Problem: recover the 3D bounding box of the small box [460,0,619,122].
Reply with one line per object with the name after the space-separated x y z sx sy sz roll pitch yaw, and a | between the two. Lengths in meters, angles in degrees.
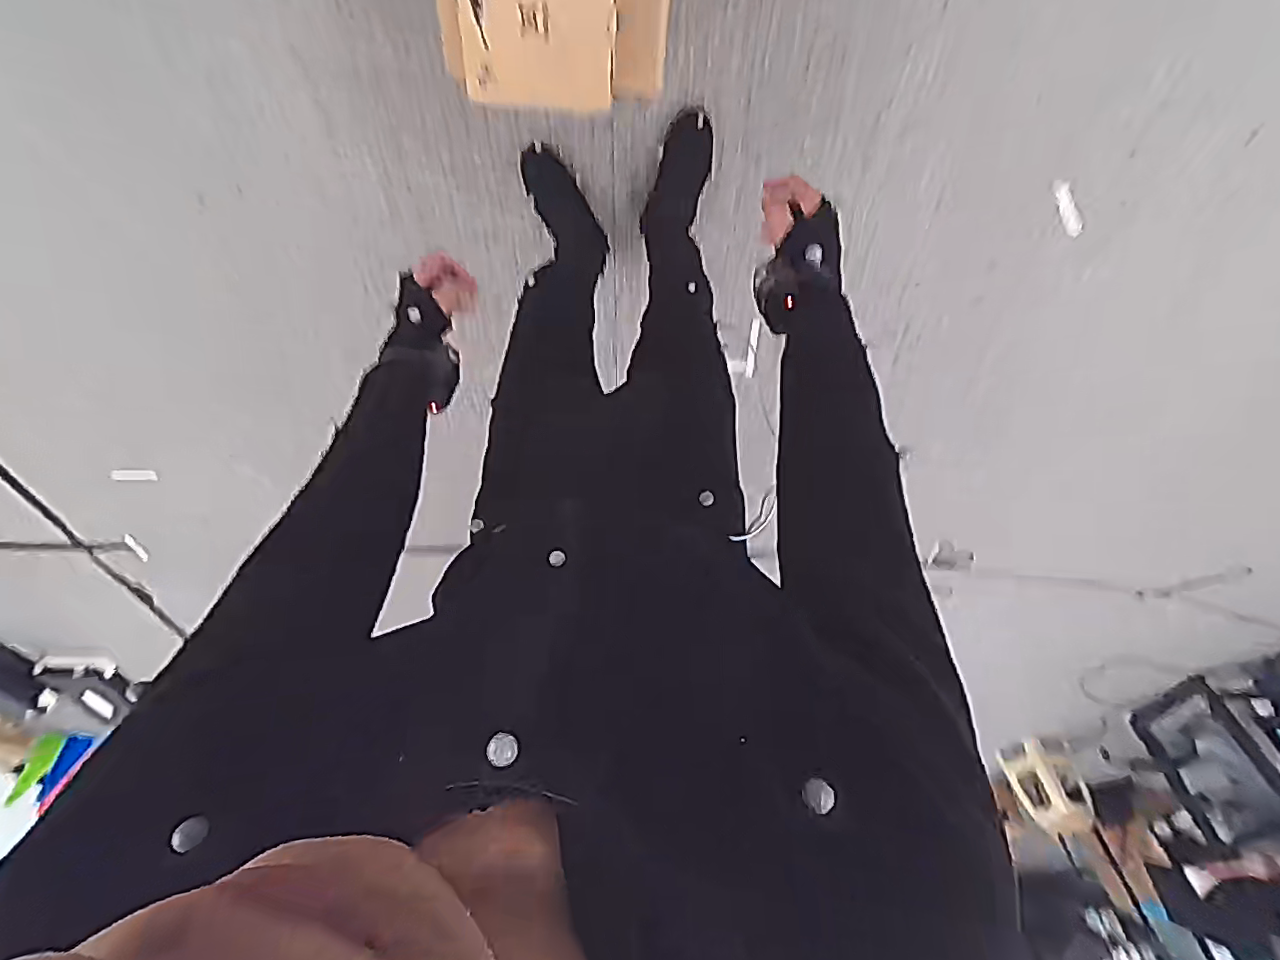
-0.116 -0.568 0.670 0.179 0.176 0.168 2 136 -5 | small box
